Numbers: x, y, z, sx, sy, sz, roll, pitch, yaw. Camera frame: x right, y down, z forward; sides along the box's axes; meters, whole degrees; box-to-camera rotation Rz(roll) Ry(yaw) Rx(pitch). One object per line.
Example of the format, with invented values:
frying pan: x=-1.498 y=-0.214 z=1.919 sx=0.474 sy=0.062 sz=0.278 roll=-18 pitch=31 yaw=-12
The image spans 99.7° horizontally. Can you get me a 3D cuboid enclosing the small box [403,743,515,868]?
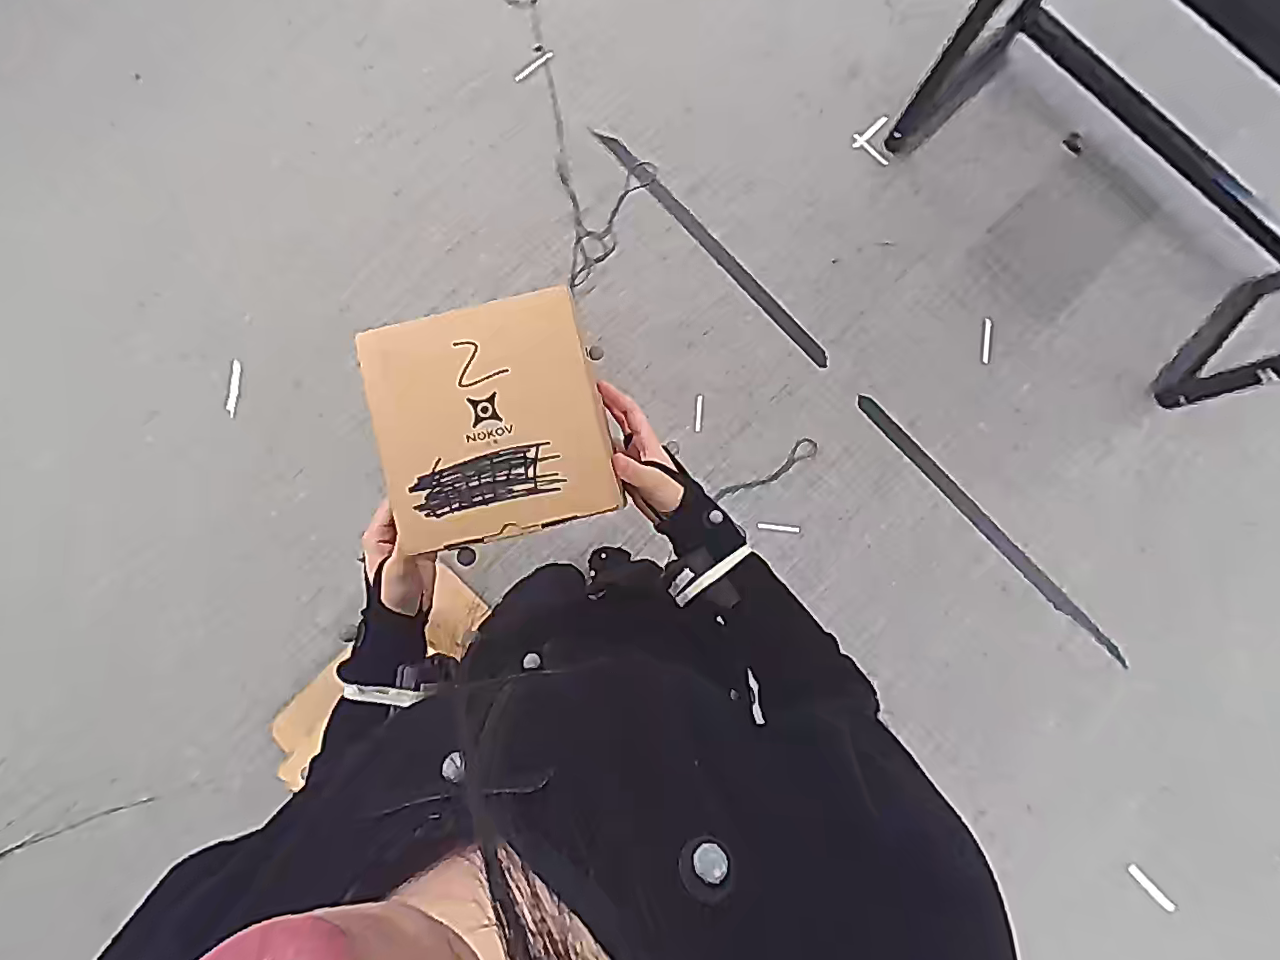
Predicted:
small box: x=-0.428 y=0.770 z=1.309 sx=0.168 sy=0.176 sz=0.179 roll=-42 pitch=87 yaw=-7

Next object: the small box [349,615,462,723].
small box: x=-0.568 y=0.458 z=1.345 sx=0.168 sy=0.176 sz=0.179 roll=40 pitch=83 yaw=3

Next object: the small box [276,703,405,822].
small box: x=-0.716 y=0.670 z=1.312 sx=0.179 sy=0.176 sz=0.168 roll=39 pitch=84 yaw=2
